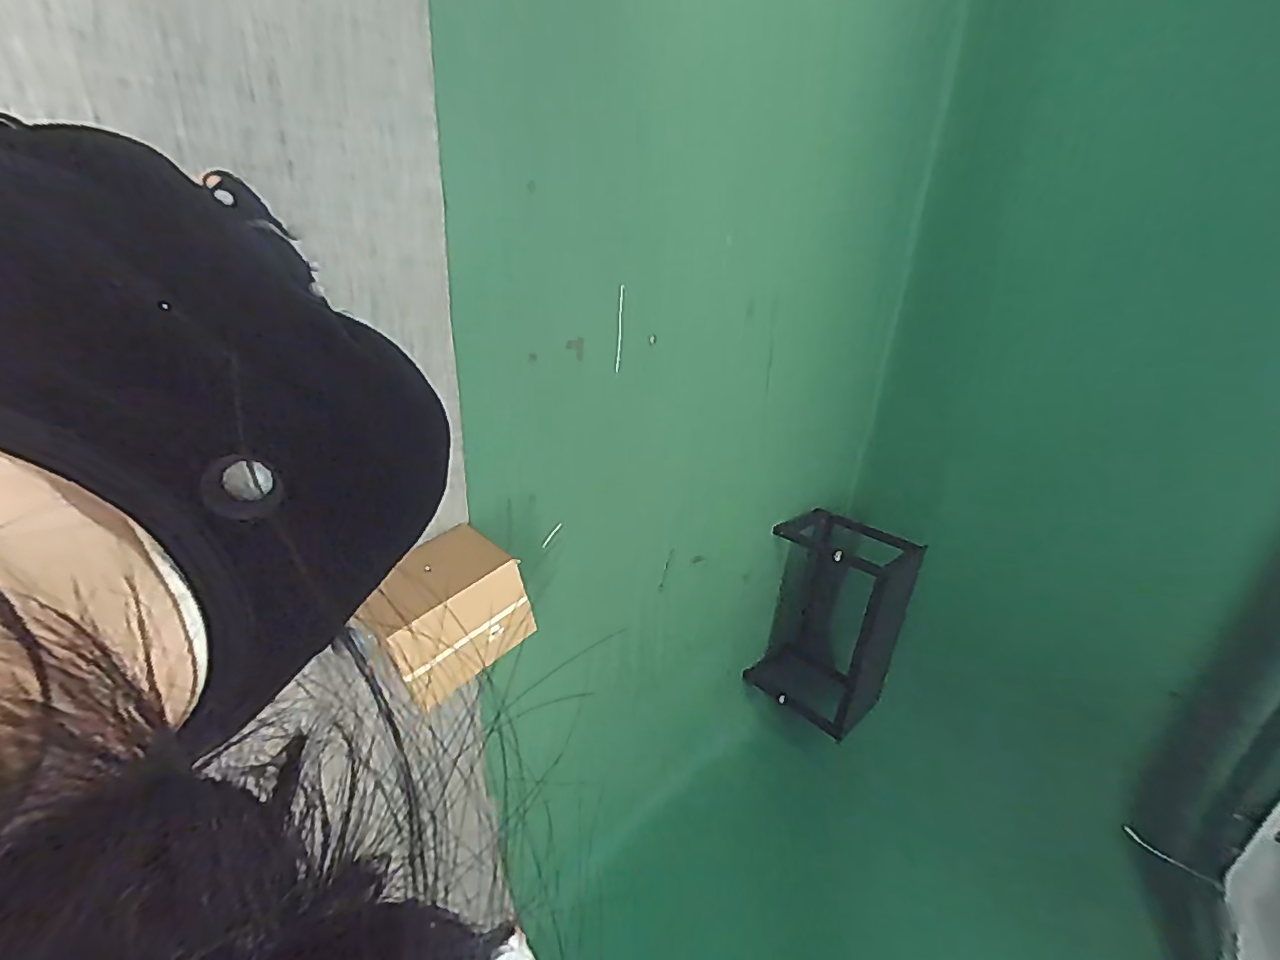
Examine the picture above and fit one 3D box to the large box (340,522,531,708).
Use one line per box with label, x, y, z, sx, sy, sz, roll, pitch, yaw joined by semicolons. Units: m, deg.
large box;-0.617;0.392;1.666;0.408;0.320;0.320;-34;131;-35
